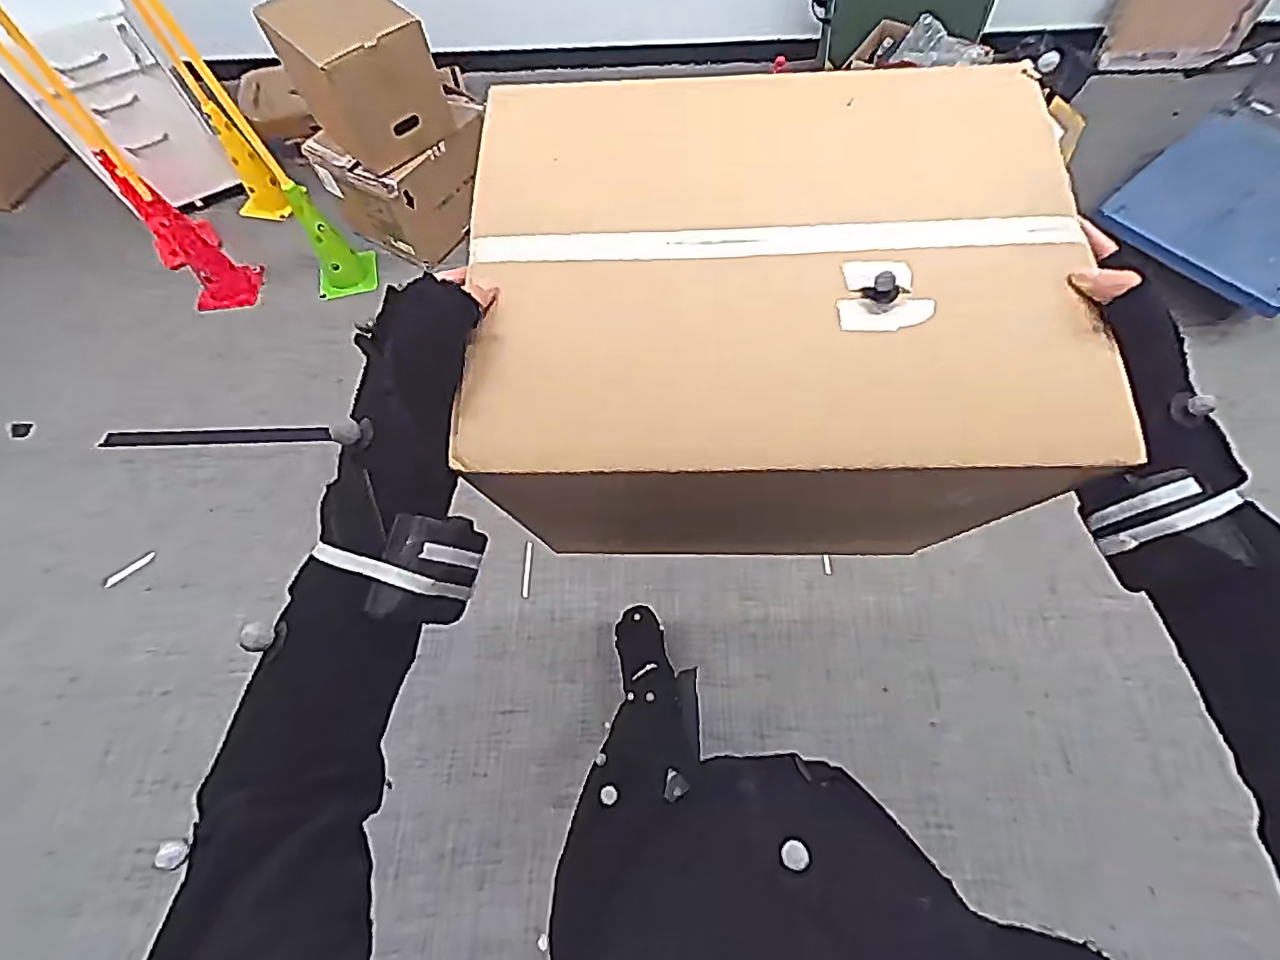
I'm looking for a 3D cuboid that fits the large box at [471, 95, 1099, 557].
[{"bbox_3d":[0.090,-0.107,0.527,0.408,0.320,0.320,-1,73,3],"label":"large box"}]
